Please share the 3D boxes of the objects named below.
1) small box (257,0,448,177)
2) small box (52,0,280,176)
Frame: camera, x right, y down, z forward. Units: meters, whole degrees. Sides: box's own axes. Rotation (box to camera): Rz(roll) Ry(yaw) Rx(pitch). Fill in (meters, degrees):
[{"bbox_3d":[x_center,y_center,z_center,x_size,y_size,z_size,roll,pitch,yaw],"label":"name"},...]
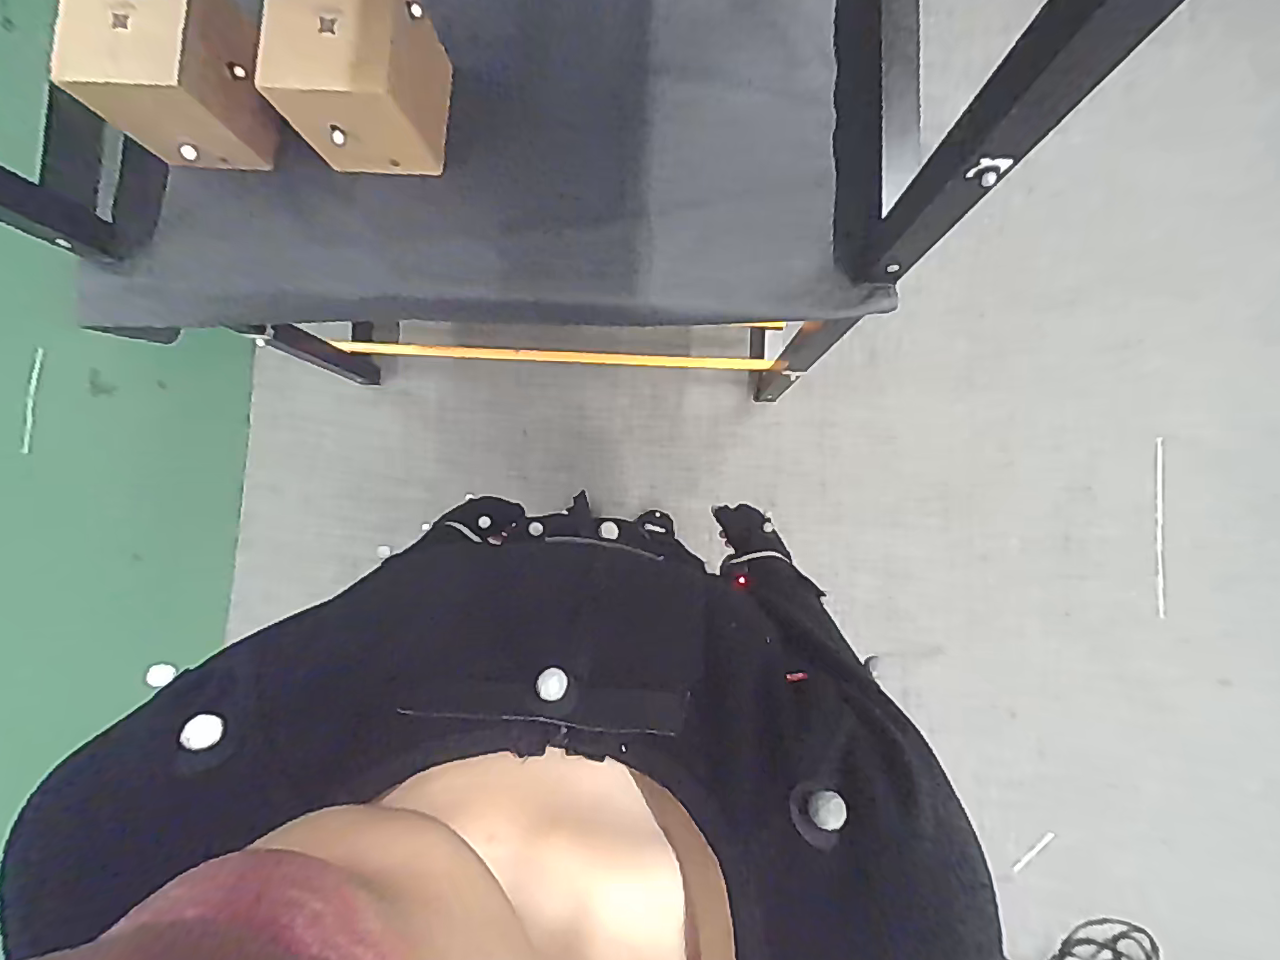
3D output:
[{"bbox_3d":[-0.376,-0.544,0.737,0.168,0.176,0.179,3,86,2],"label":"small box"},{"bbox_3d":[-0.628,-0.557,0.743,0.168,0.176,0.179,4,87,2],"label":"small box"}]
